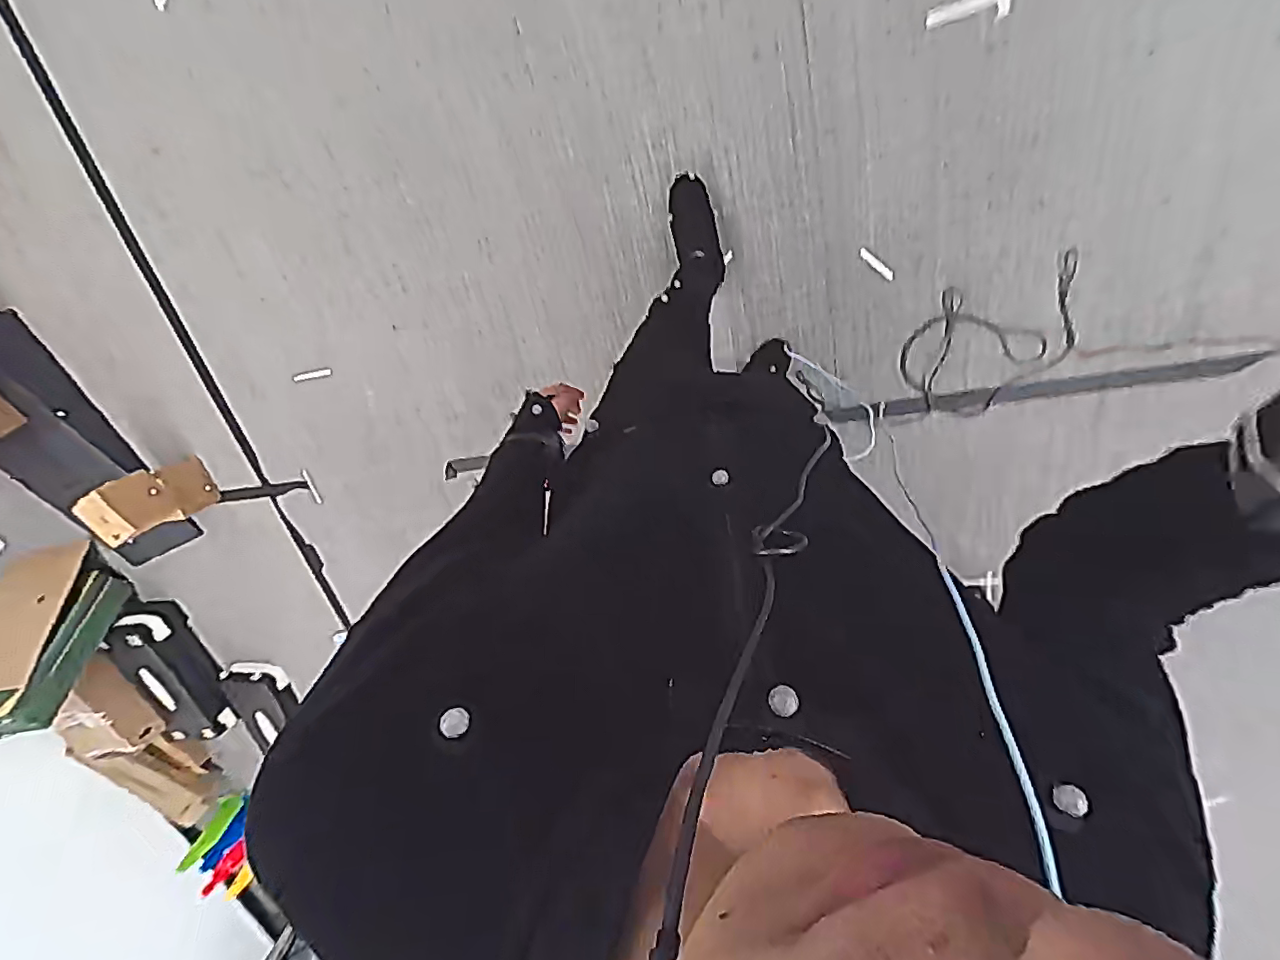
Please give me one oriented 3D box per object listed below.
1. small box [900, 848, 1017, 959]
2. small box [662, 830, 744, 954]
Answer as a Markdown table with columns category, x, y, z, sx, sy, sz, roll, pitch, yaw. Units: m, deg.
| category | x | y | z | sx | sy | sz | roll | pitch | yaw |
| --- | --- | --- | --- | --- | --- | --- | --- | --- | --- |
| small box | 0.654 | 0.909 | 1.131 | 0.168 | 0.176 | 0.179 | -4 | 115 | 14 |
| small box | 0.149 | 0.945 | 1.251 | 0.168 | 0.176 | 0.179 | -5 | 115 | 13 |
